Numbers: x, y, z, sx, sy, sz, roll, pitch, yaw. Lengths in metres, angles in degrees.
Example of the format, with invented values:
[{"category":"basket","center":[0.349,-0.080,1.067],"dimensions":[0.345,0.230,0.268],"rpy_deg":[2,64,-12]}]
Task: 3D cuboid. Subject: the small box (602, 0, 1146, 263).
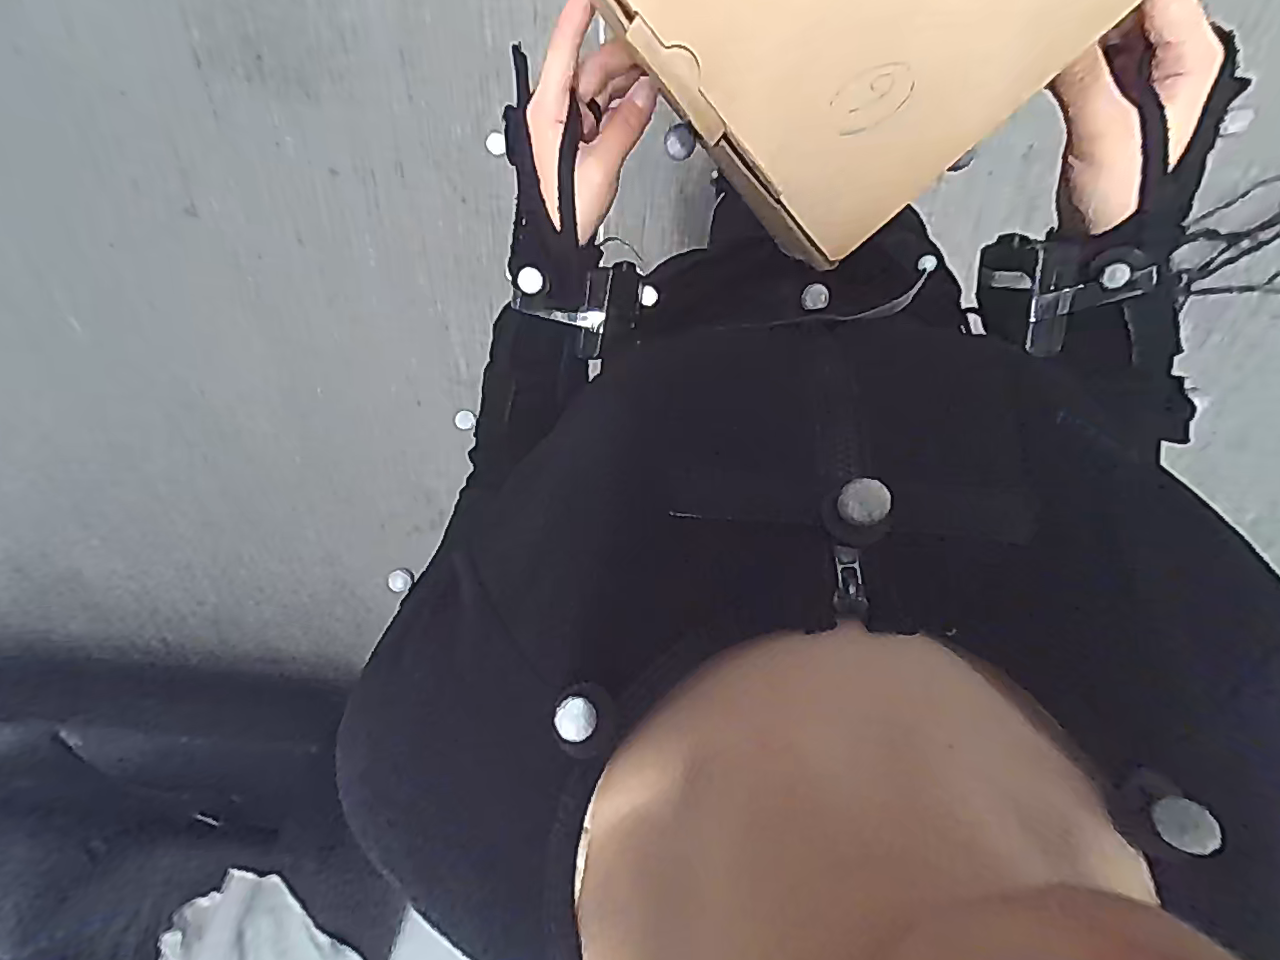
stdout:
[{"category":"small box","center":[0.089,-0.215,0.218],"dimensions":[0.179,0.176,0.168],"rpy_deg":[-38,103,24]}]
